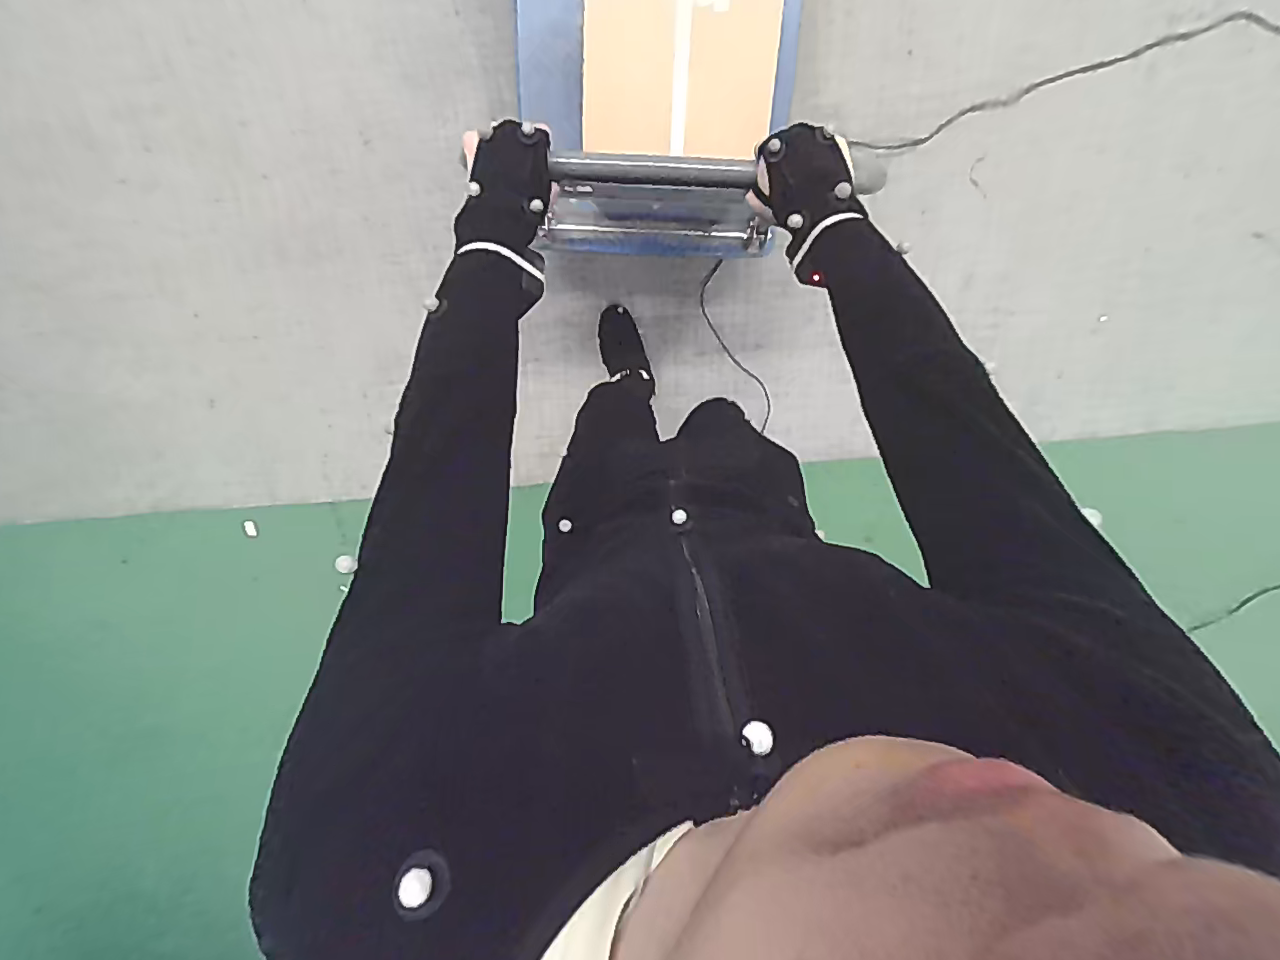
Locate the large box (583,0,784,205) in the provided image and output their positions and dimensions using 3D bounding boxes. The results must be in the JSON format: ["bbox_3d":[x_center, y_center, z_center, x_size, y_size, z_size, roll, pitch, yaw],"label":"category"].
[{"bbox_3d":[0.067,-0.746,0.988,0.320,0.320,0.408,2,110,-2],"label":"large box"}]
